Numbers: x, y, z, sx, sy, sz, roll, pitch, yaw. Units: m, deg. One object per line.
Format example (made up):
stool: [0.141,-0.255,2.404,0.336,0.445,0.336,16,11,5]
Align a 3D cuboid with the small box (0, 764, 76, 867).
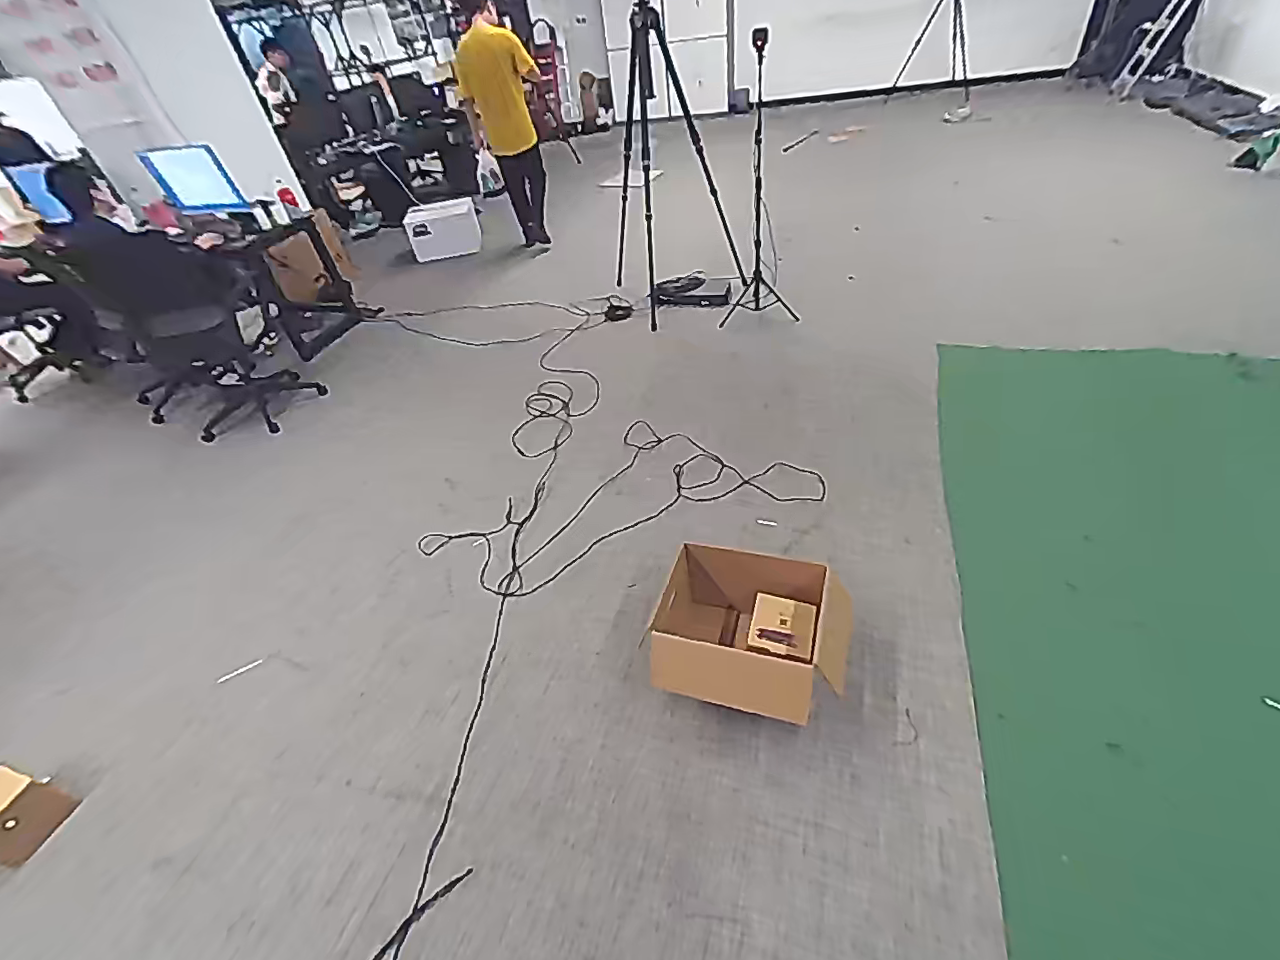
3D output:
small box: [-1.694,0.901,1.452,0.168,0.176,0.179,6,45,16]
